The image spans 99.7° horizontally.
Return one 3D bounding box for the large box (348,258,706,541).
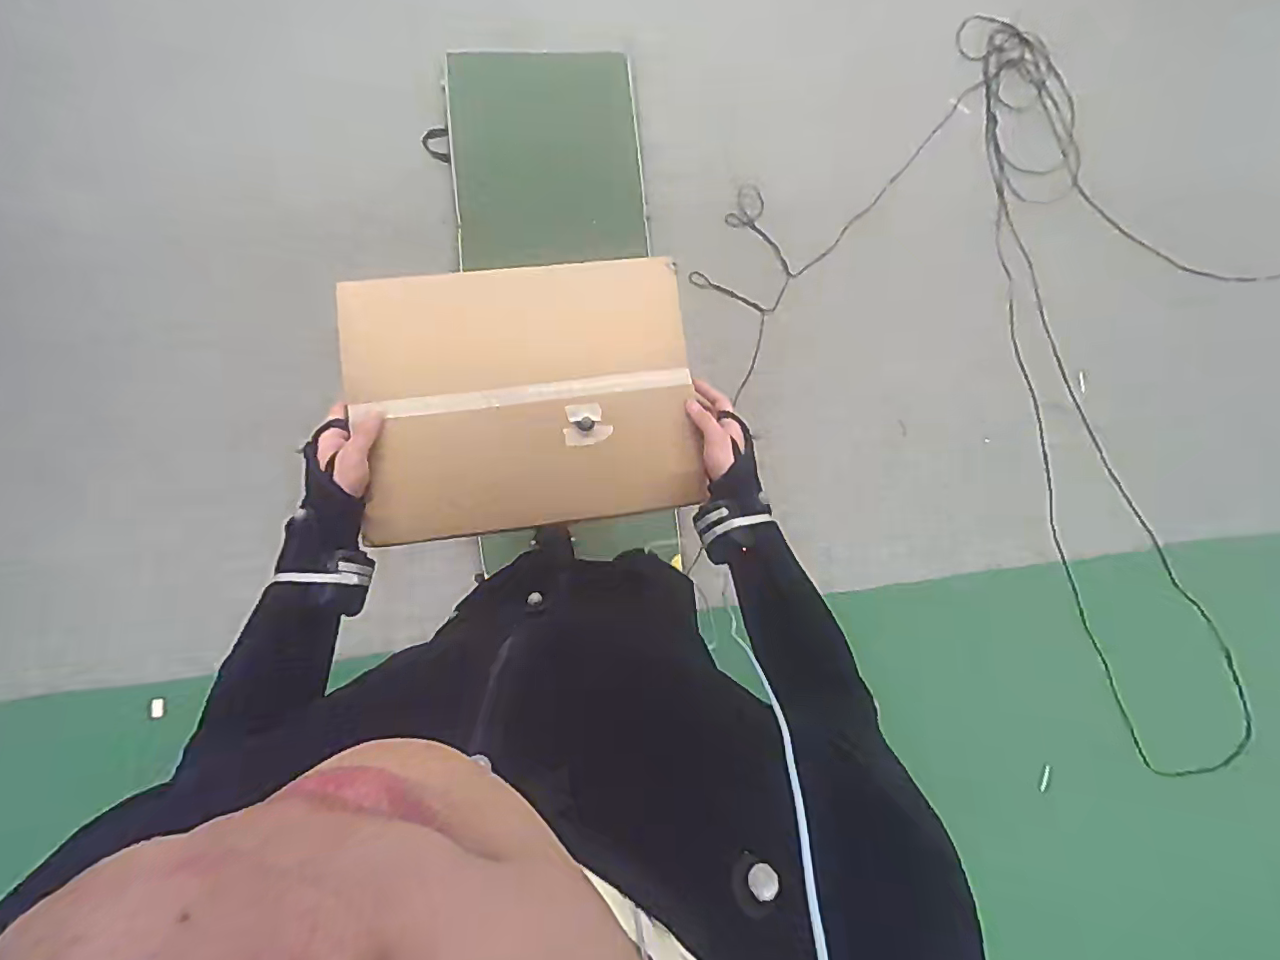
[{"bbox_3d":[-0.151,-0.094,0.805,0.408,0.320,0.320,-7,87,-7],"label":"large box"}]
